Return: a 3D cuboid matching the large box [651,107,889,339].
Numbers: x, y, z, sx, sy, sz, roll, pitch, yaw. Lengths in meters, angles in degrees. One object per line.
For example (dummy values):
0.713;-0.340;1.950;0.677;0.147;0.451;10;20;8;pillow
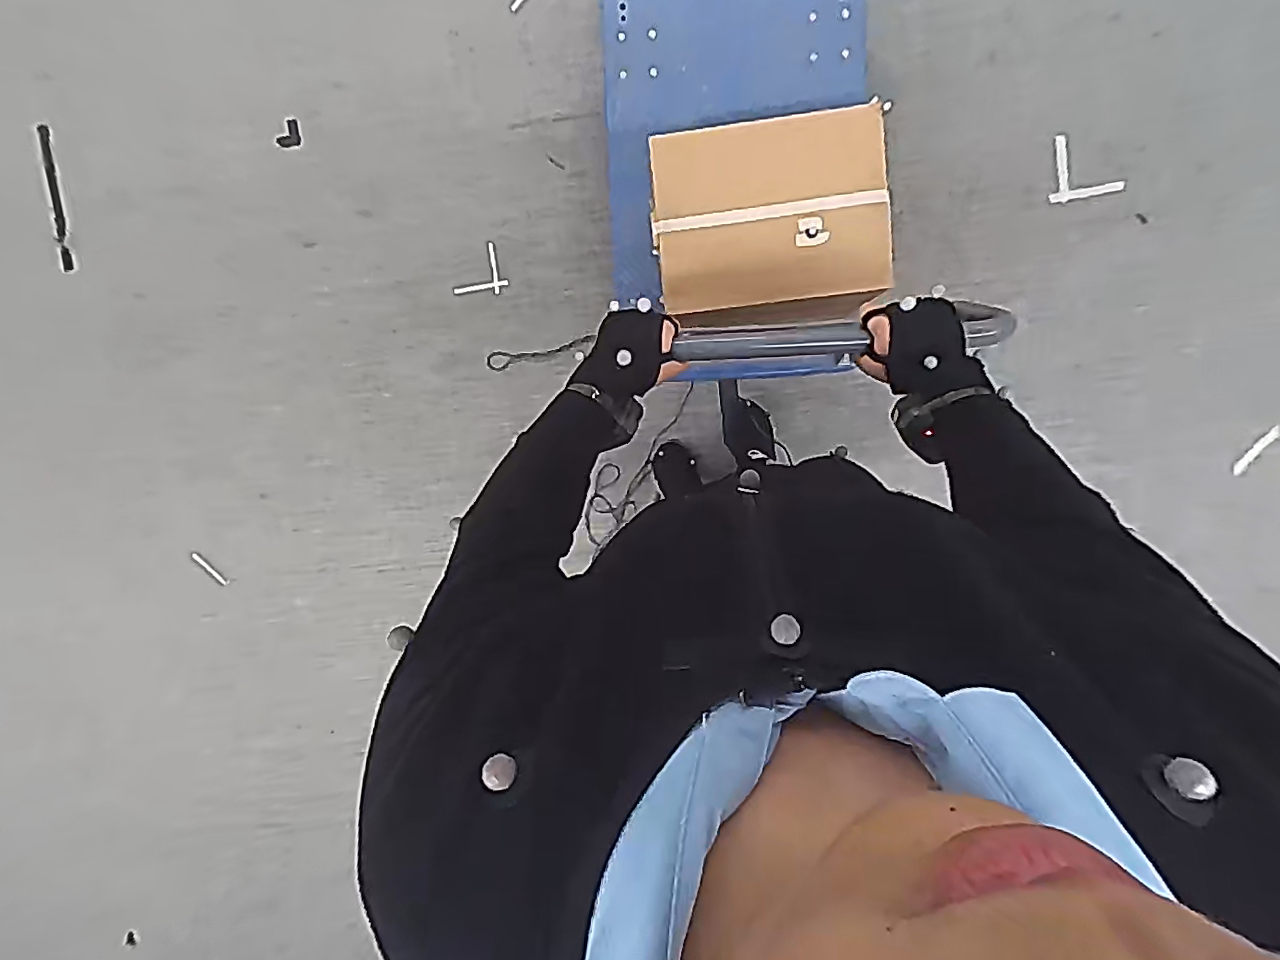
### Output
0.242;-0.492;1.116;0.408;0.320;0.320;-6;97;4;large box
